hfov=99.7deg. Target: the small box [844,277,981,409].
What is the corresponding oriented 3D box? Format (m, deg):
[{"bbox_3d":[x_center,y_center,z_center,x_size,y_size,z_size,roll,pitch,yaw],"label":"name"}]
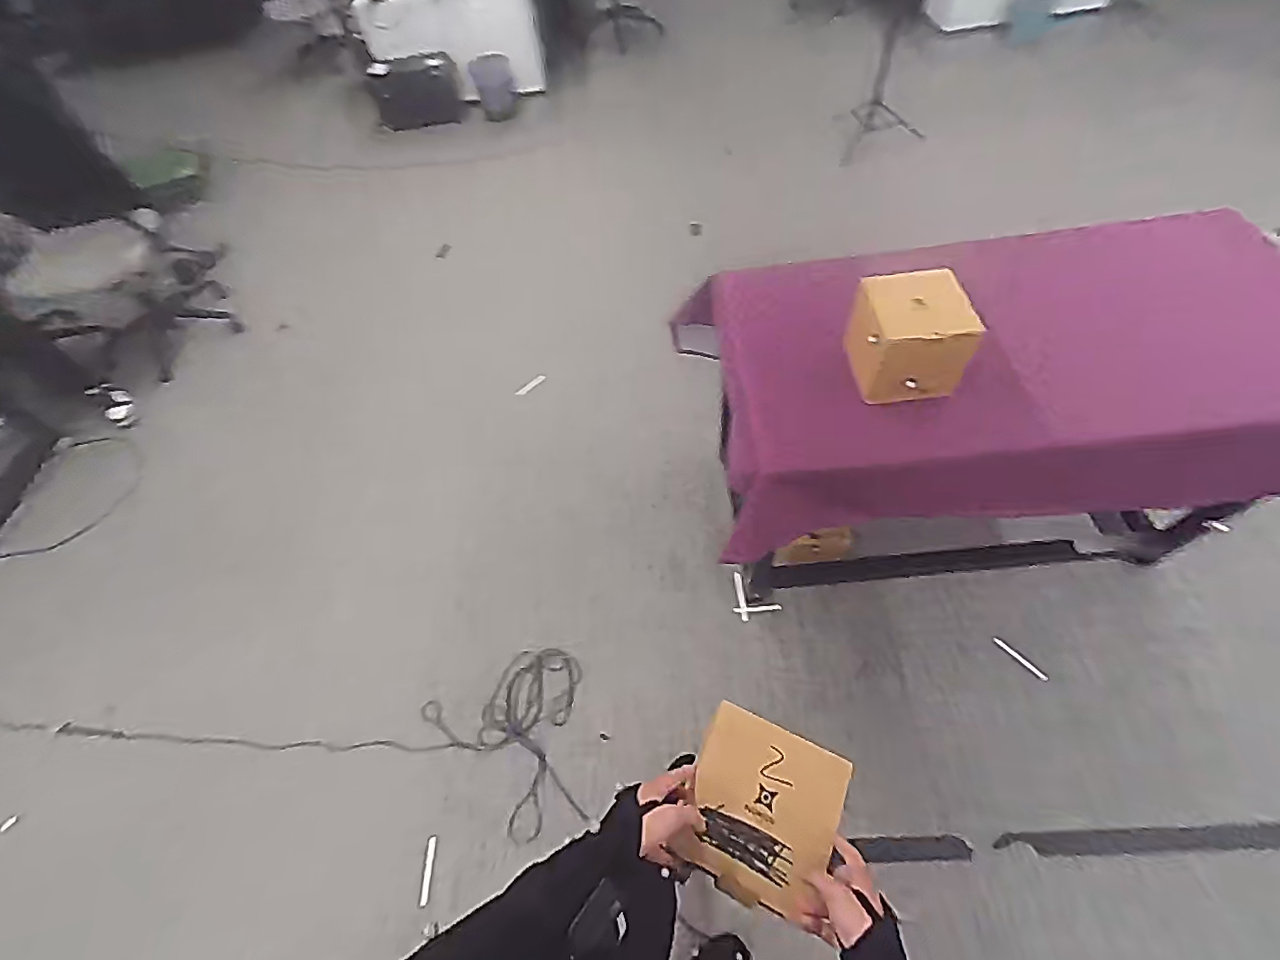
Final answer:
[{"bbox_3d":[0.511,-0.262,1.048,0.168,0.176,0.179,-6,57,3],"label":"small box"}]
